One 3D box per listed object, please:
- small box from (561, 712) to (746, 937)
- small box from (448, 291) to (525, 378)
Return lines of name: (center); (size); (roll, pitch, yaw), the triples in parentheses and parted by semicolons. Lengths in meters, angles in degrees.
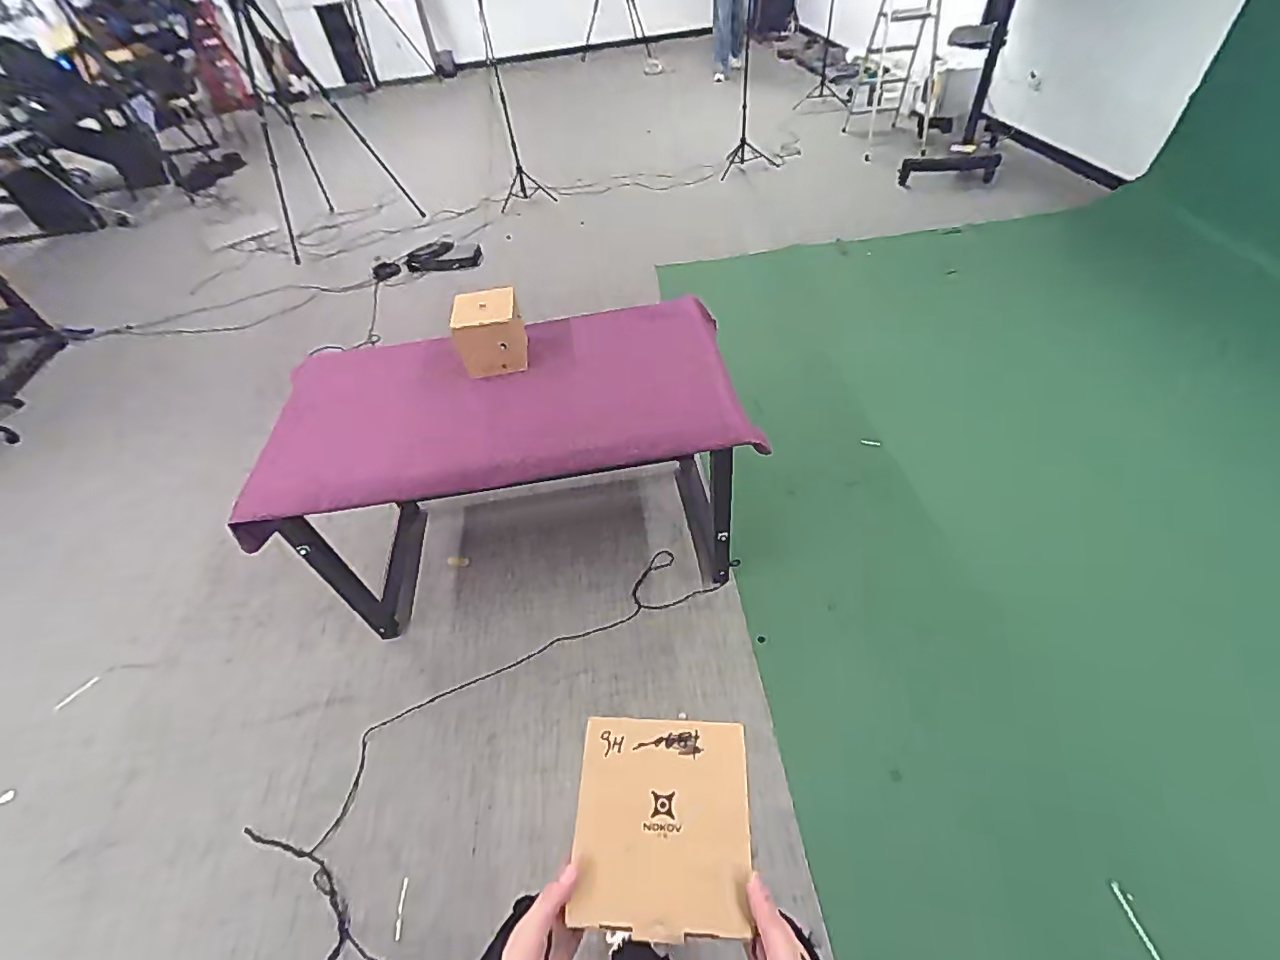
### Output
small box: (0.023, 0.364, 0.577); (0.168, 0.176, 0.179); (0, 52, 5)
small box: (-0.423, -0.402, 1.518); (0.168, 0.176, 0.179); (-10, 47, -1)
